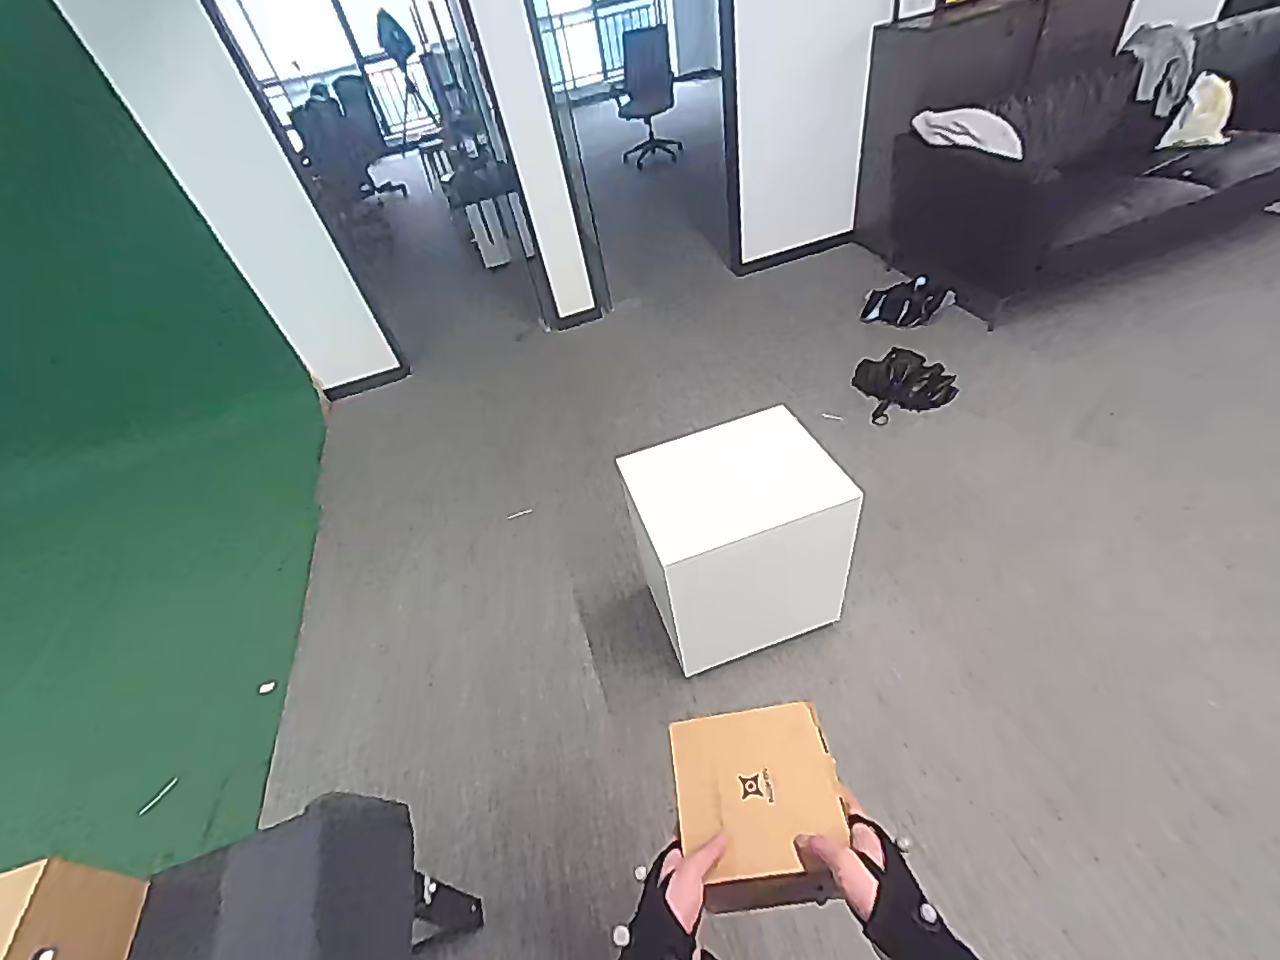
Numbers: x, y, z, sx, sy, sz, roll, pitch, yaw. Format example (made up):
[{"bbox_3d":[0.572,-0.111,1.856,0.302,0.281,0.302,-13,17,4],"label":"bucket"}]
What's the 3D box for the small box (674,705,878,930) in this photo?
[{"bbox_3d":[0.146,0.387,0.619,0.179,0.176,0.168,-13,40,4],"label":"small box"}]
